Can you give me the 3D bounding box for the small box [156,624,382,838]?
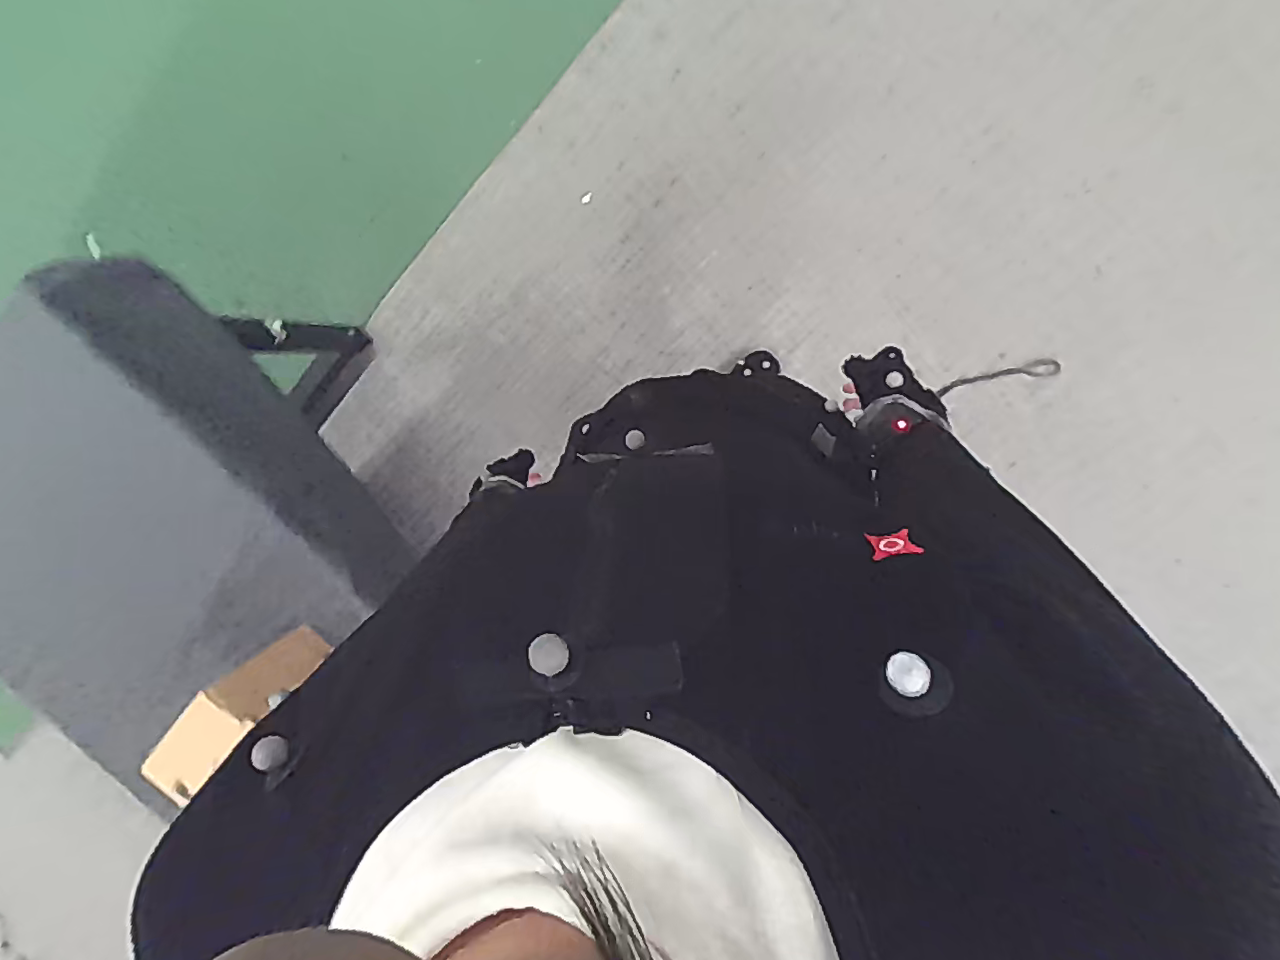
[{"bbox_3d":[-0.502,0.339,0.761,0.168,0.176,0.179,44,105,-4],"label":"small box"}]
